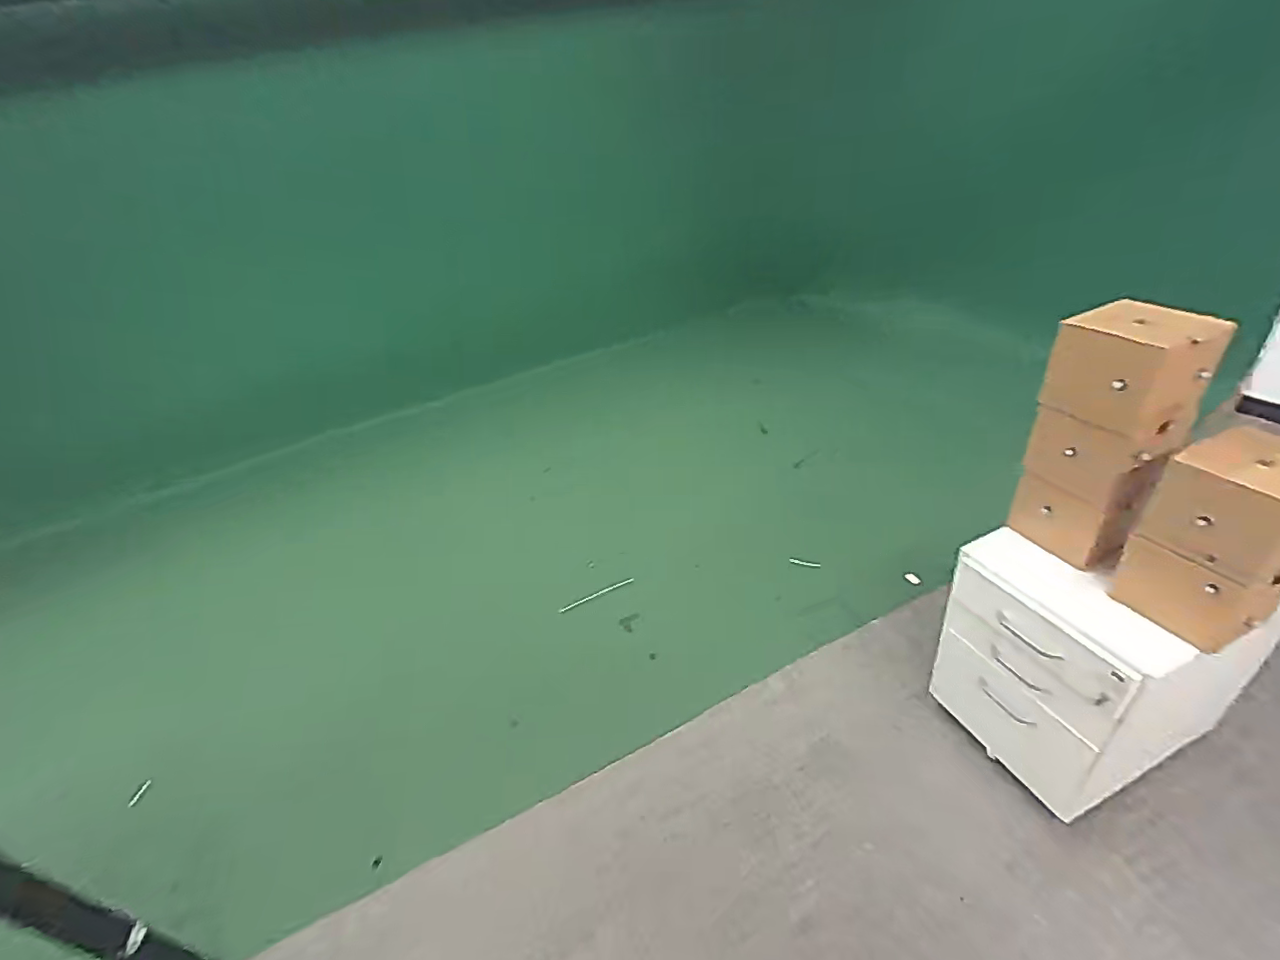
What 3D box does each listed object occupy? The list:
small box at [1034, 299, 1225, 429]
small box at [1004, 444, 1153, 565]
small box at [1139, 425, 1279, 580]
[{"bbox_3d":[0.876,-0.209,0.987,0.168,0.176,0.179,-19,36,-14],"label":"small box"},{"bbox_3d":[0.939,0.052,1.176,0.168,0.176,0.179,-21,37,-14],"label":"small box"},{"bbox_3d":[0.986,0.037,0.895,0.179,0.176,0.168,-20,36,-13],"label":"small box"}]
